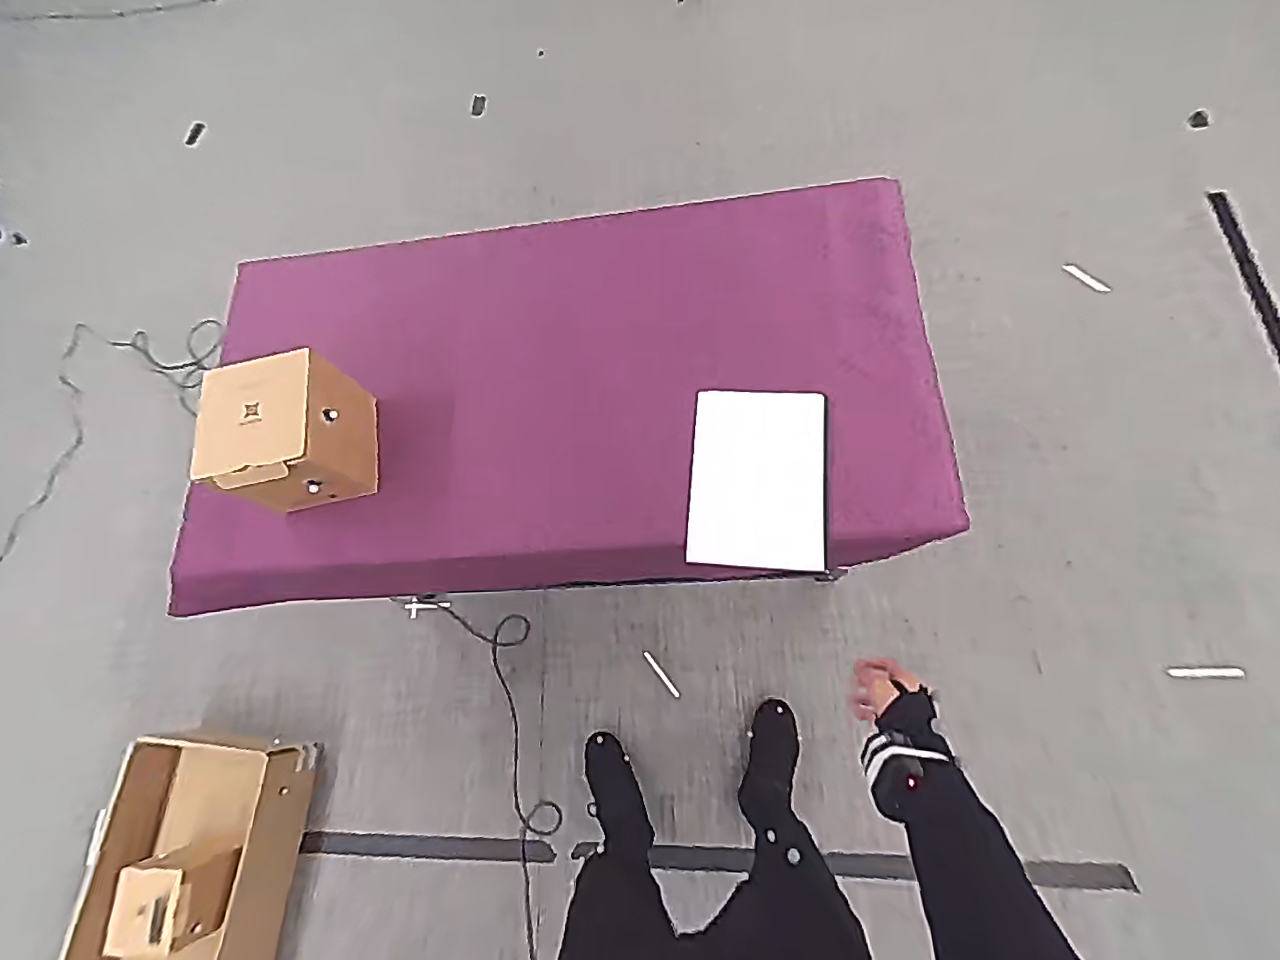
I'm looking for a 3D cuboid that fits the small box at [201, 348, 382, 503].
[{"bbox_3d":[-0.517,-0.071,0.828,0.168,0.176,0.179,-11,71,4],"label":"small box"}]
